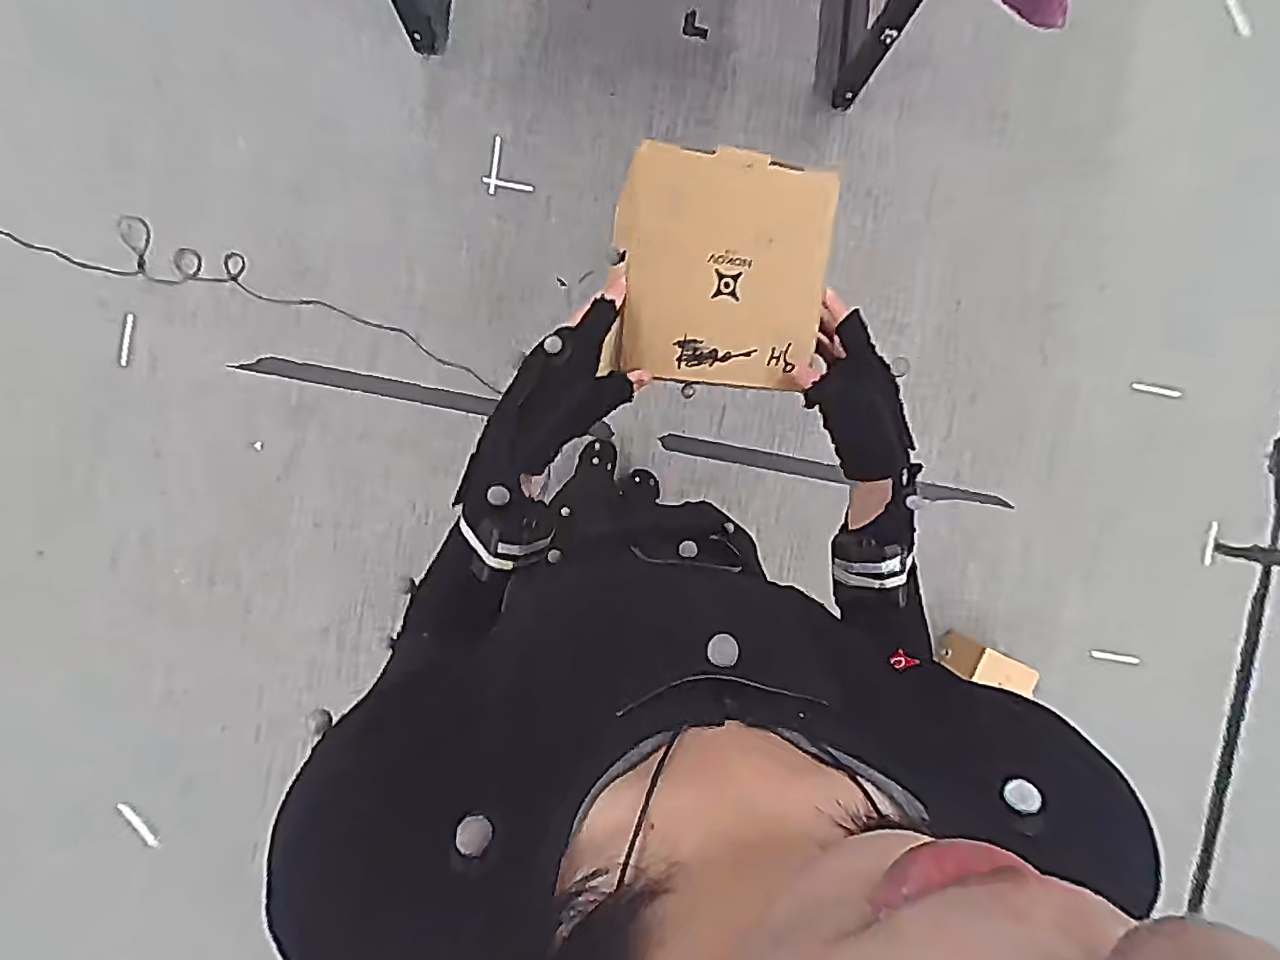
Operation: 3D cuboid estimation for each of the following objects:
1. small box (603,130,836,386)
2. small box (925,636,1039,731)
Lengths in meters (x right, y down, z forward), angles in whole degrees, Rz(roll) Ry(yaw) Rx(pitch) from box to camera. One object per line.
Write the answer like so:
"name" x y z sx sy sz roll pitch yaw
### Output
"small box" 0.058 -0.185 0.510 0.168 0.176 0.179 3 98 -10
"small box" 0.949 0.560 1.515 0.179 0.176 0.168 25 90 -3
